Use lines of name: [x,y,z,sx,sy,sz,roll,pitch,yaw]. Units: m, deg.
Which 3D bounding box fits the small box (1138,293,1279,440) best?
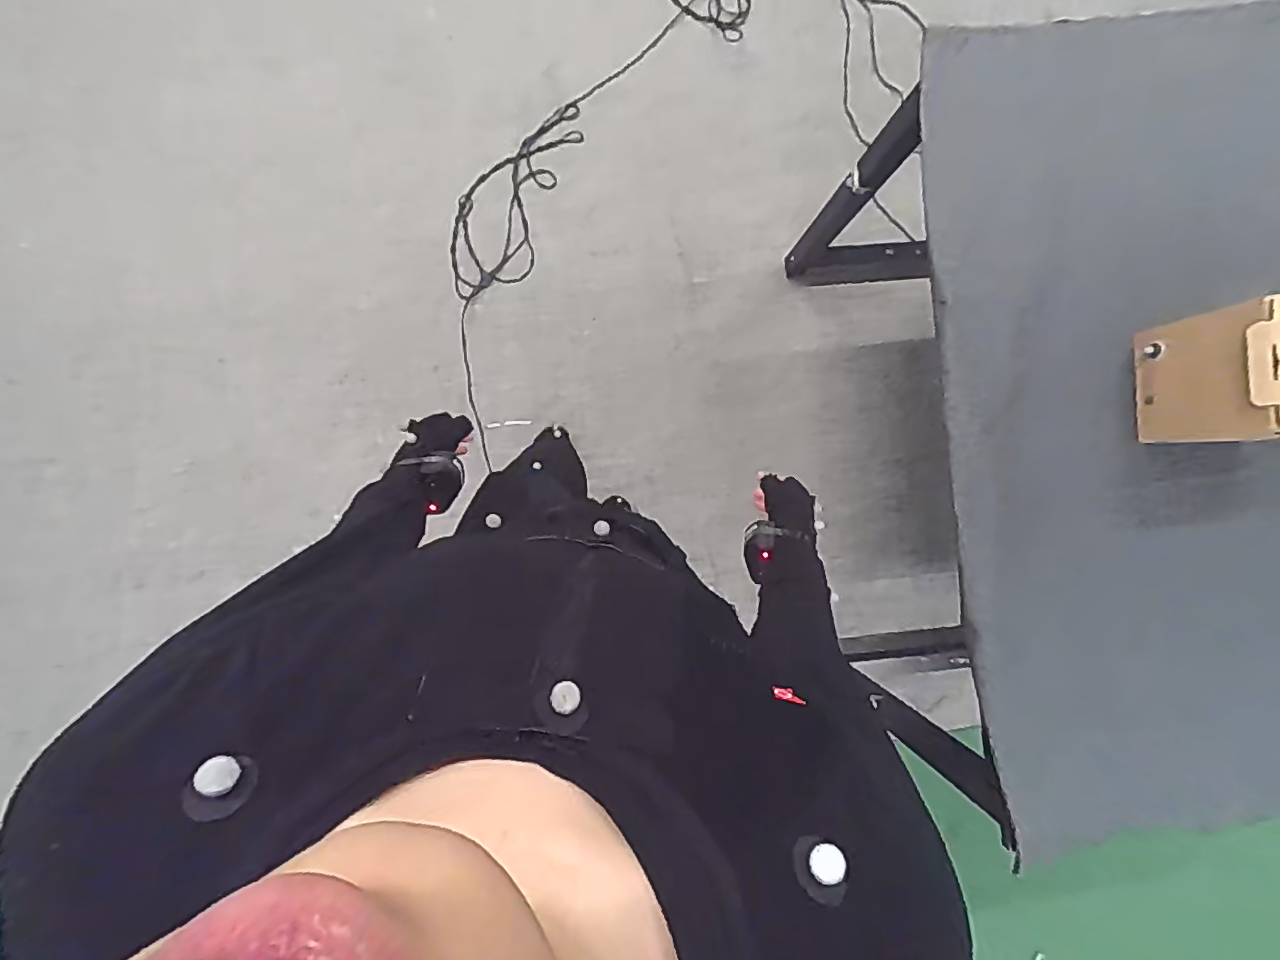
small box: [0.830,-0.143,0.734,0.179,0.176,0.168,-1,89,-4]
